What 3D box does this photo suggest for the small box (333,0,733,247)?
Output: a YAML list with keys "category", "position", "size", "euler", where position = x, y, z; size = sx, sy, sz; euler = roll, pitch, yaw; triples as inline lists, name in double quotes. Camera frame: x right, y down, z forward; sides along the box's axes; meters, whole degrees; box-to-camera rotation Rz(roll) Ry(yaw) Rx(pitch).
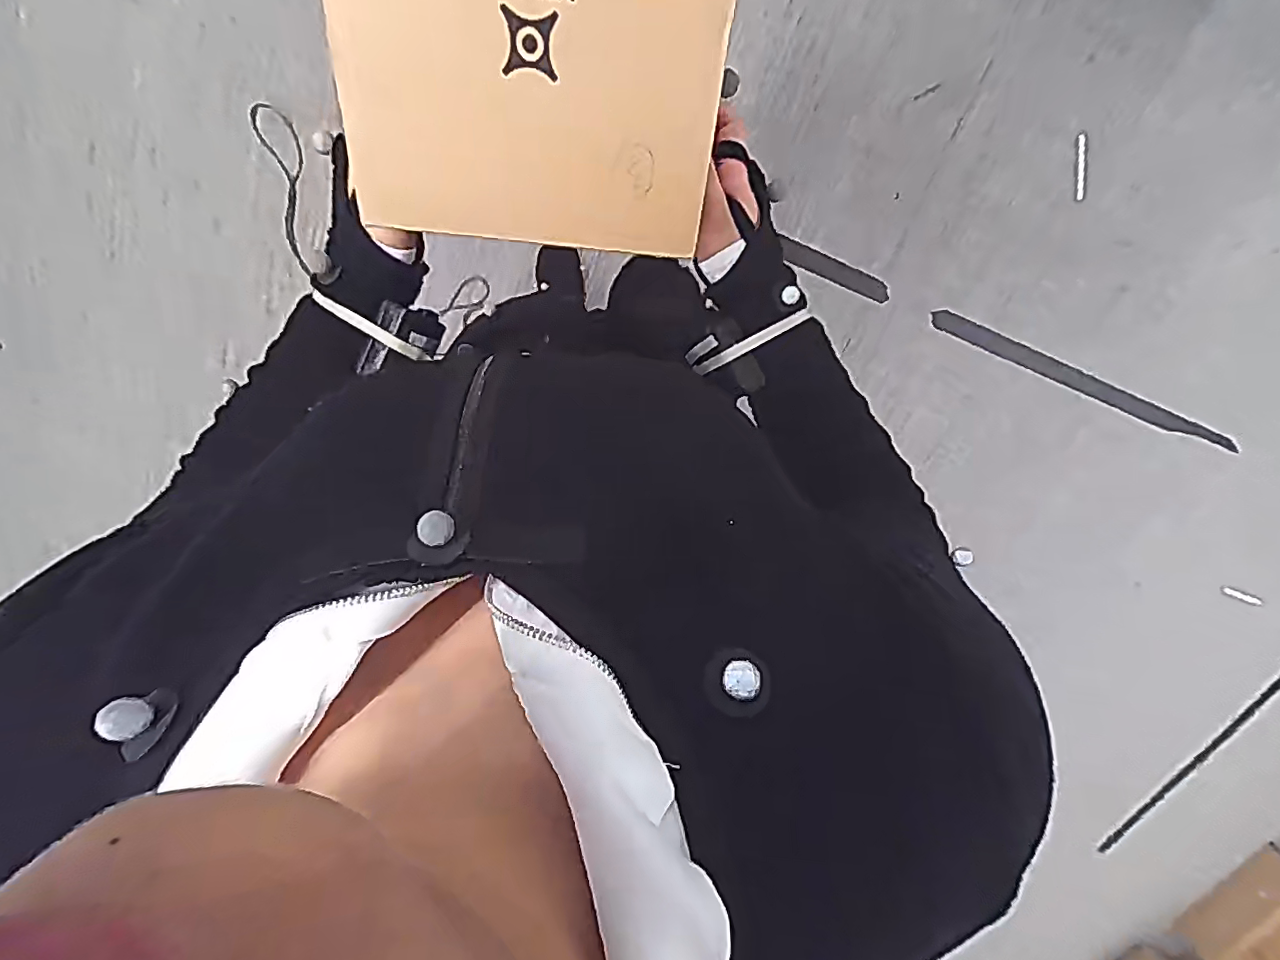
- category: "small box"
  position: [-0.047, -0.243, 0.288]
  size: [0.168, 0.176, 0.179]
  euler: [3, 124, -7]
